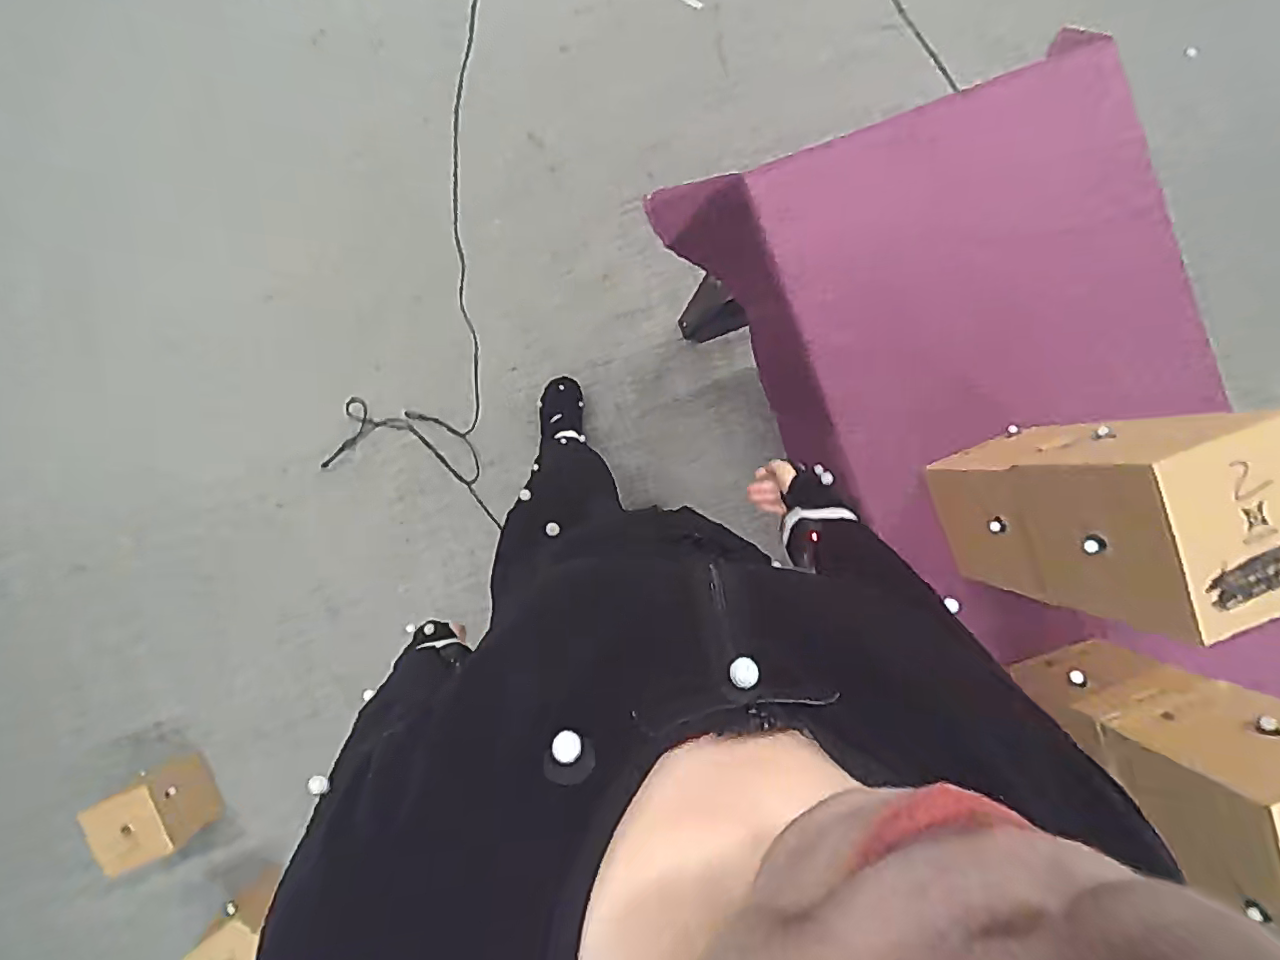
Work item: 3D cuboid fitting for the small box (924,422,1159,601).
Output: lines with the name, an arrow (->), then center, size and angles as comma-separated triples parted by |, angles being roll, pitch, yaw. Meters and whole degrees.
small box -> 0.521, 0.035, 0.727 | 0.168, 0.176, 0.179 | -21, 95, -4

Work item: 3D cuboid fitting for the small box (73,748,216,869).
small box -> -1.209, 0.794, 1.334 | 0.168, 0.176, 0.179 | -20, 94, -3

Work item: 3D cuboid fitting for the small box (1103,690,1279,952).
small box -> 0.661, 0.353, 0.590 | 0.168, 0.176, 0.179 | -17, 94, -4

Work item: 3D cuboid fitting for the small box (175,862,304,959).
small box -> -0.994, 1.128, 1.368 | 0.179, 0.176, 0.168 | -36, 95, -3

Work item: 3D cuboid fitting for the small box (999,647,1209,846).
small box -> 0.642, 0.349, 0.751 | 0.168, 0.176, 0.179 | -15, 94, -4
